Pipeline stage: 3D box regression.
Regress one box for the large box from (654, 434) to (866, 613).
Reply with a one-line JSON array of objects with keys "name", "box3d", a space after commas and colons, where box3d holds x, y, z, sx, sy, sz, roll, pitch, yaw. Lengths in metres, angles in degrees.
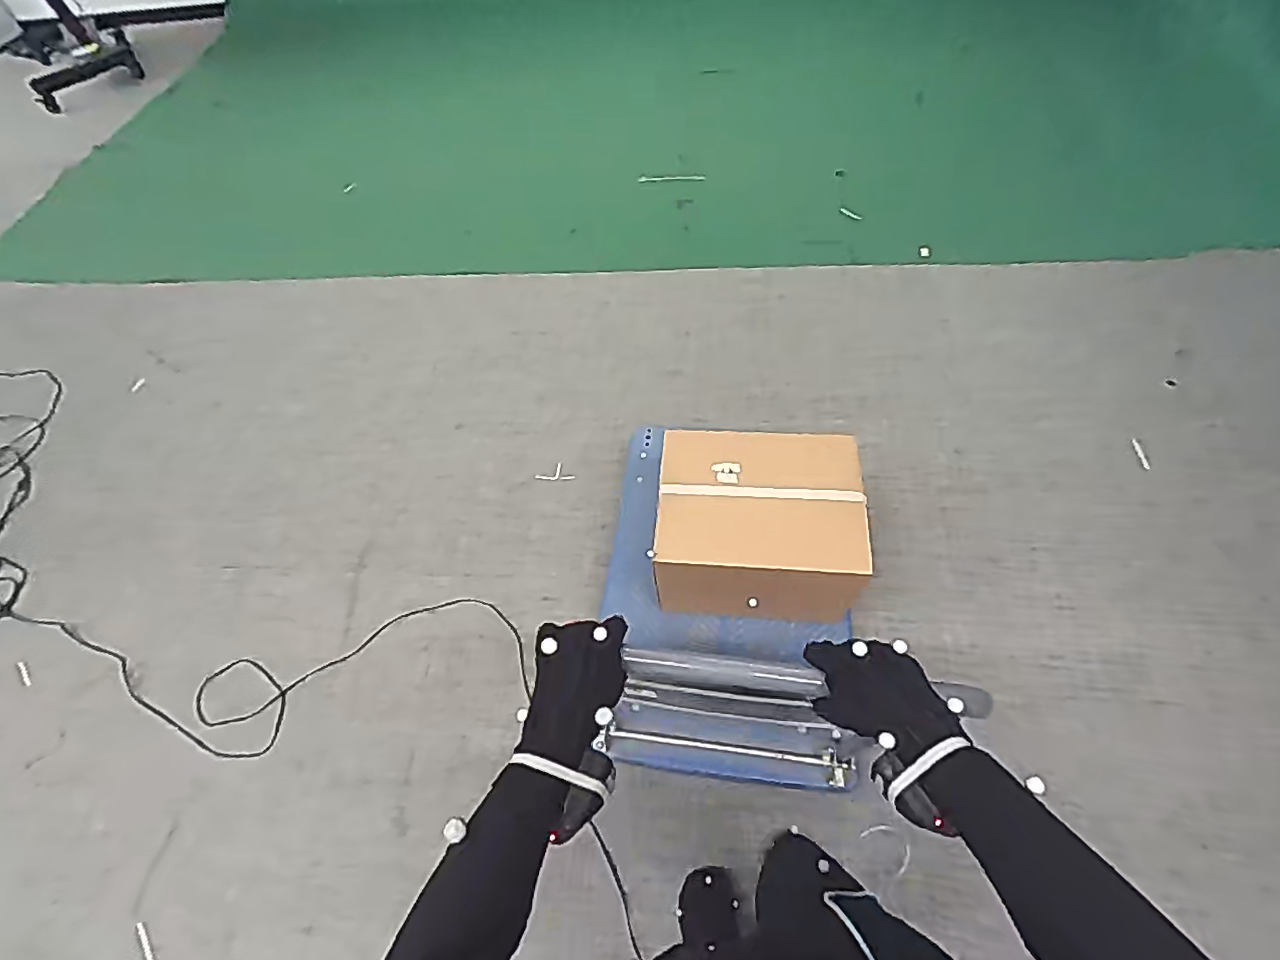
[{"name": "large box", "box3d": [0.252, 0.108, 1.228, 0.408, 0.320, 0.320, 1, 59, 8]}]
